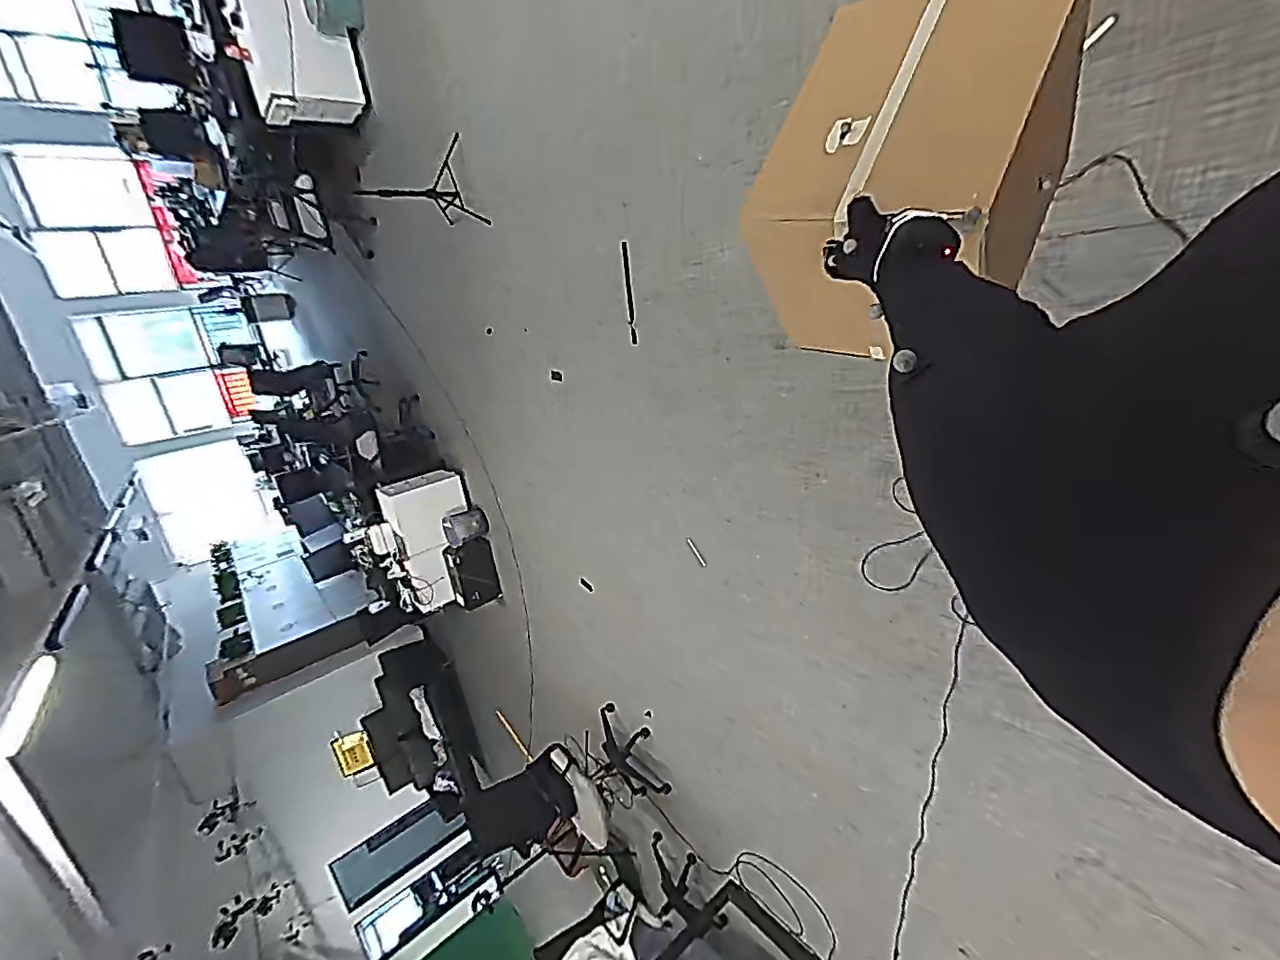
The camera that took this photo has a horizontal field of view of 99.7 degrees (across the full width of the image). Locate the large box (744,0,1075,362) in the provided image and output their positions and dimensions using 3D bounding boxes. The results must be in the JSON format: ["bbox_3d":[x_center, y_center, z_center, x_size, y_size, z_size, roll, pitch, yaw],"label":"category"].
[{"bbox_3d":[0.418,-0.447,0.831,0.320,0.320,0.408,18,79,39],"label":"large box"}]
